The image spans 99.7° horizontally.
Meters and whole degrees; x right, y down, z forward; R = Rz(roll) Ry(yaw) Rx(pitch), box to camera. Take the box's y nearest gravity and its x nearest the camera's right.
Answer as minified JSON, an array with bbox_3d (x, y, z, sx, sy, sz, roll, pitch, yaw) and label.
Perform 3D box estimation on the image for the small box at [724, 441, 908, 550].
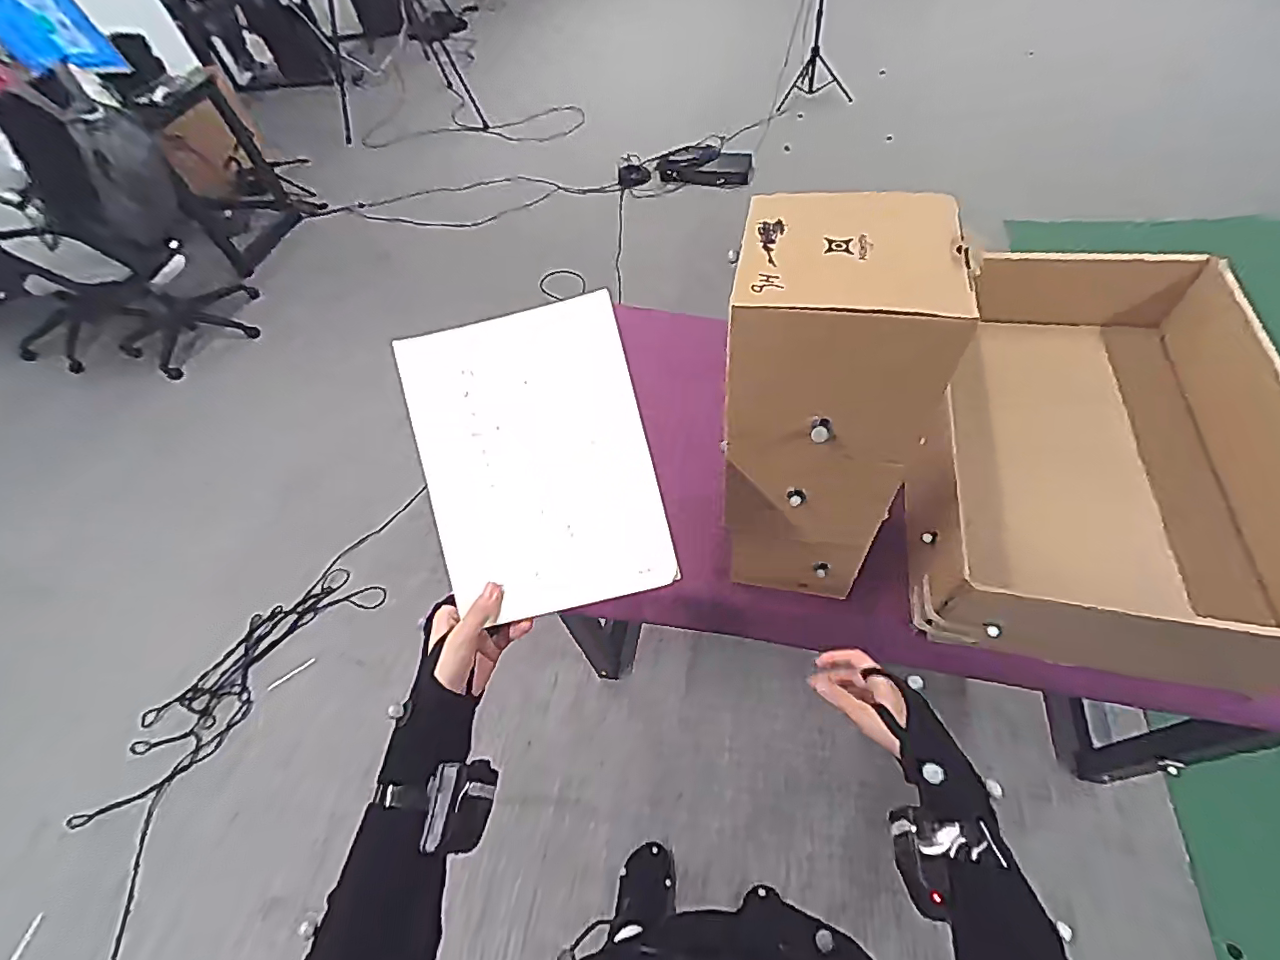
[{"bbox_3d":[0.198,-0.034,0.636,0.179,0.176,0.168,7,54,14],"label":"small box"}]

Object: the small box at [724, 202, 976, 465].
[{"bbox_3d":[0.178,-0.132,0.504,0.179,0.176,0.168,8,54,12],"label":"small box"}]
